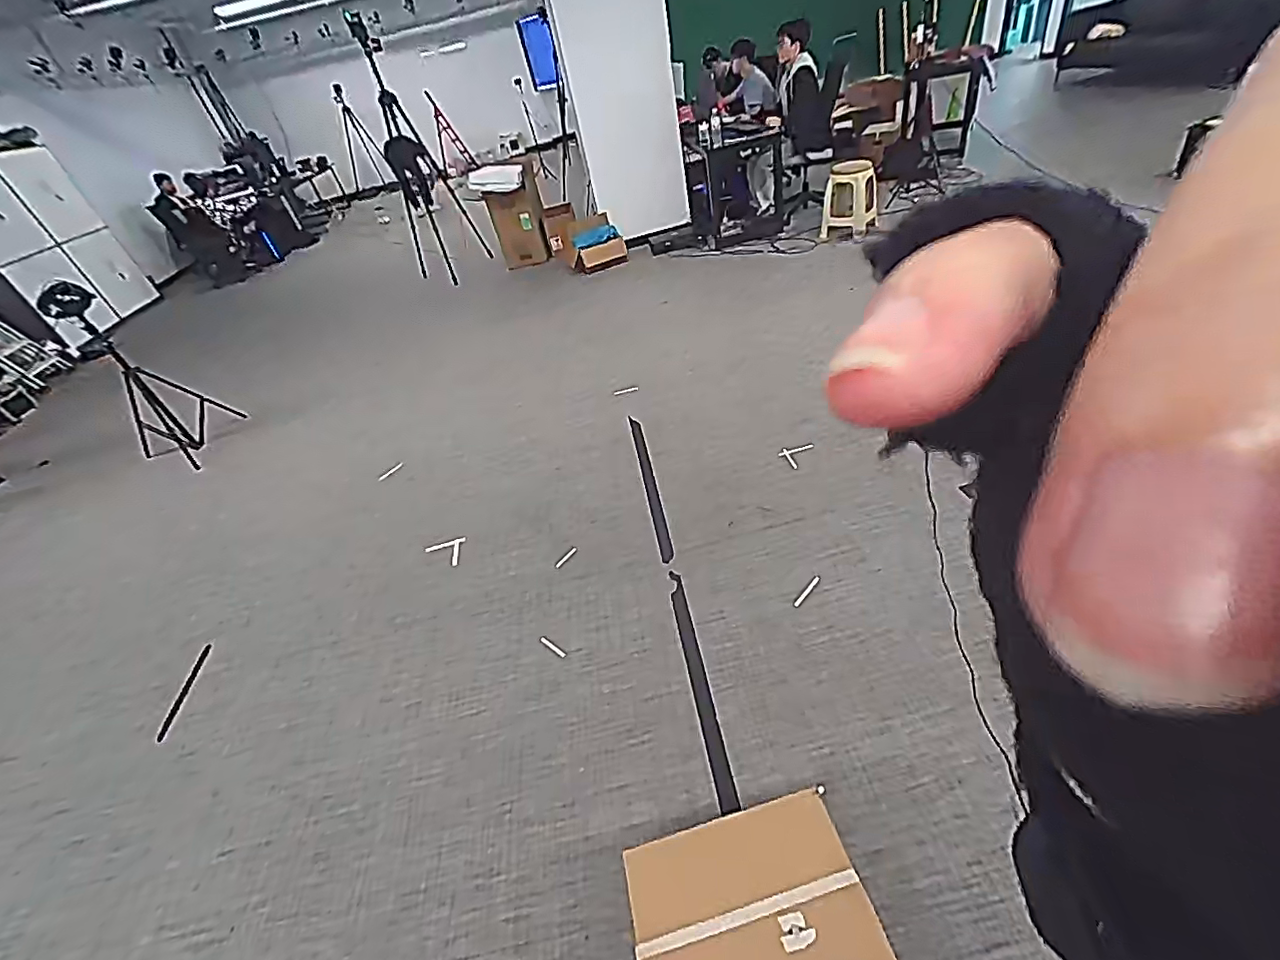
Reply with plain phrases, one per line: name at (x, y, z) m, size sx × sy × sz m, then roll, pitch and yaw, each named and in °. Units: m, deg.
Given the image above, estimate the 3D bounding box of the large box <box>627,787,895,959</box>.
large box at (0.224, 0.880, 1.049) m, size 0.408 × 0.320 × 0.320 m, roll -17°, pitch 38°, yaw -3°
